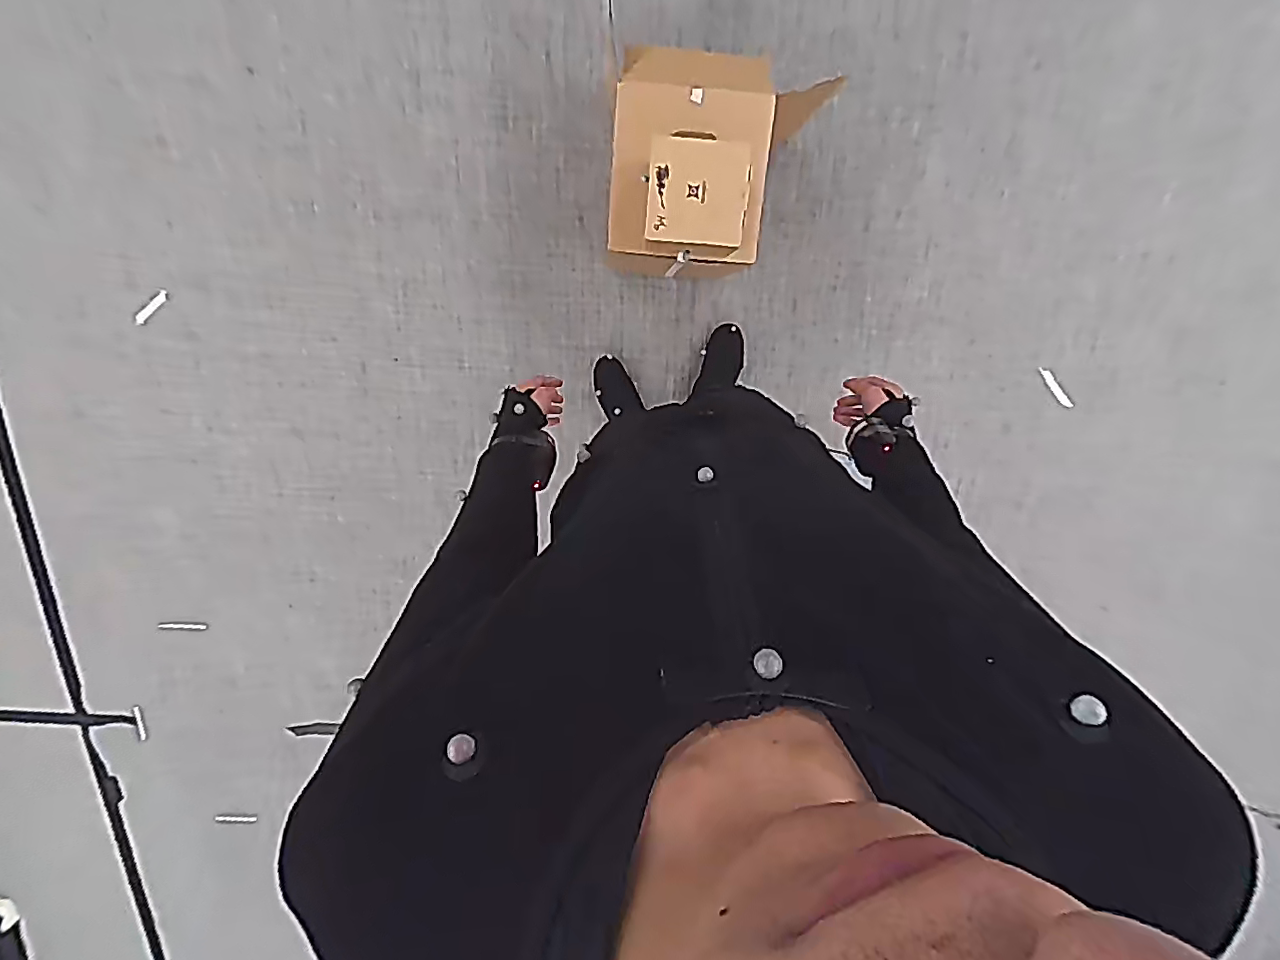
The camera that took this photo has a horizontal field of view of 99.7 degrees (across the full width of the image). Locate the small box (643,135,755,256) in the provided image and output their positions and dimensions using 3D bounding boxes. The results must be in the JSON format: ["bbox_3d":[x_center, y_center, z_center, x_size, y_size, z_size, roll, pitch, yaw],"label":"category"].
[{"bbox_3d":[0.101,-0.519,1.010,0.179,0.176,0.168,4,107,-2],"label":"small box"}]
